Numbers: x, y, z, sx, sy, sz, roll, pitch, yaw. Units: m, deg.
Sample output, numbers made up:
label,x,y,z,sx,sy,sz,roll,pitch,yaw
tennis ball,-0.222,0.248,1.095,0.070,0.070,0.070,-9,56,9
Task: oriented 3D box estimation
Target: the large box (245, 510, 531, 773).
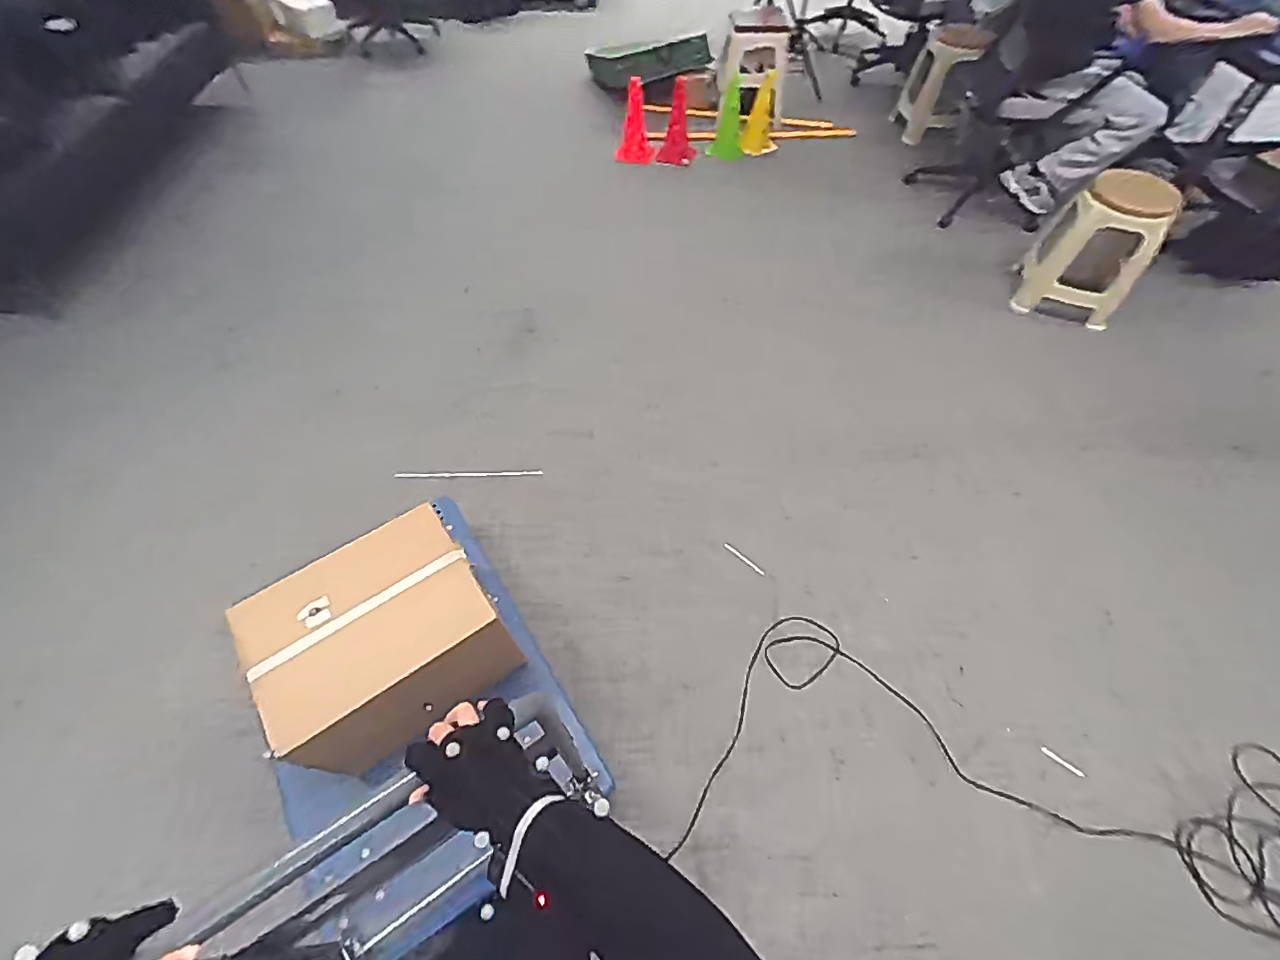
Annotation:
label,x,y,z,sx,sy,sz,roll,pitch,yaw
large box,-0.500,0.342,1.143,0.408,0.320,0.320,-32,61,-18
